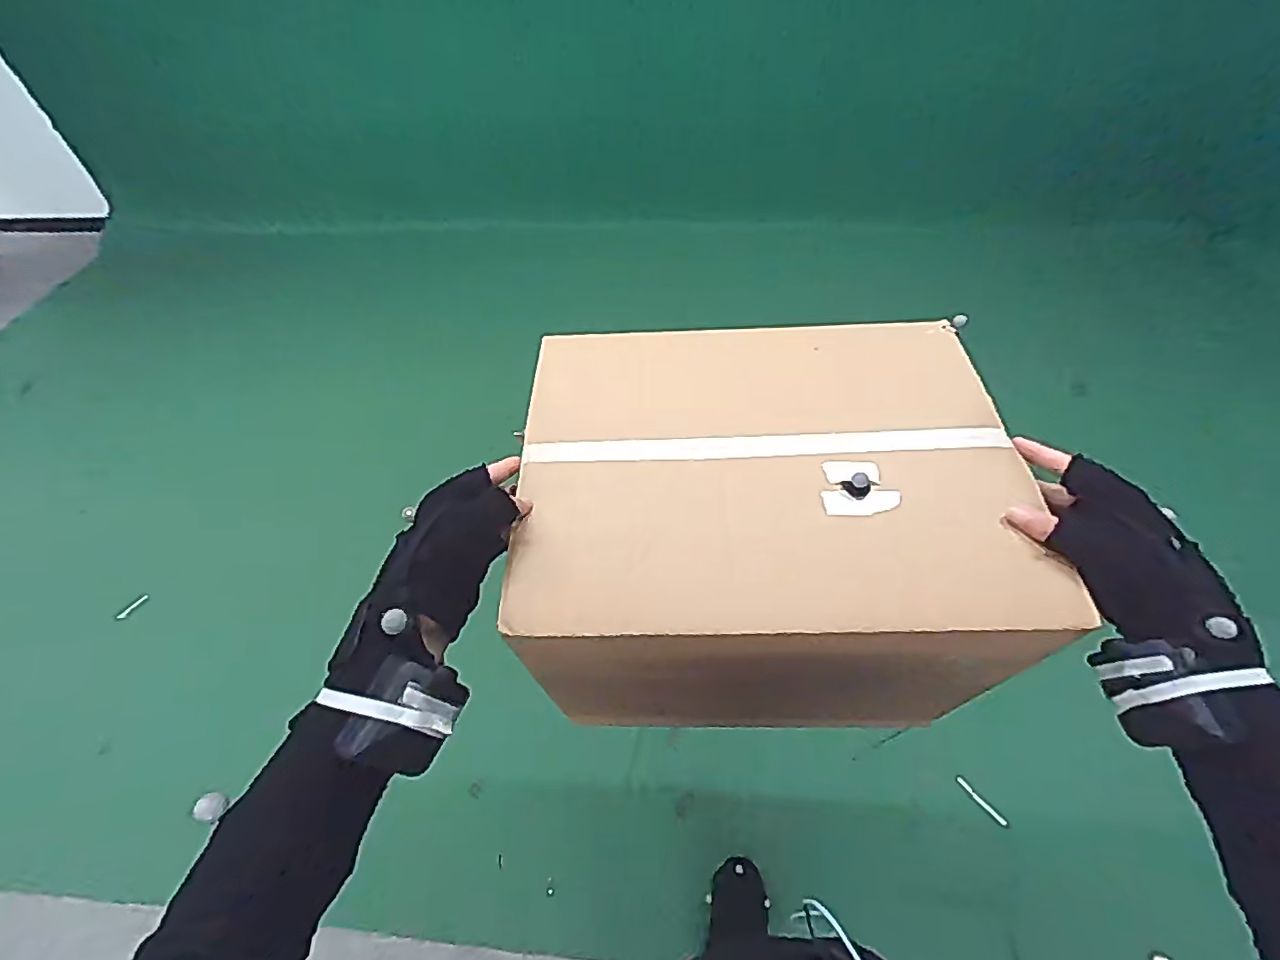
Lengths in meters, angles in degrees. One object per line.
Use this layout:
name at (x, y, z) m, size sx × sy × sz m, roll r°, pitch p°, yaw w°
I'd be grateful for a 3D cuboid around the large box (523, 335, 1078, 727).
large box at (0.114, 0.068, 0.590) m, size 0.408 × 0.320 × 0.320 m, roll -1°, pitch 55°, yaw 2°
